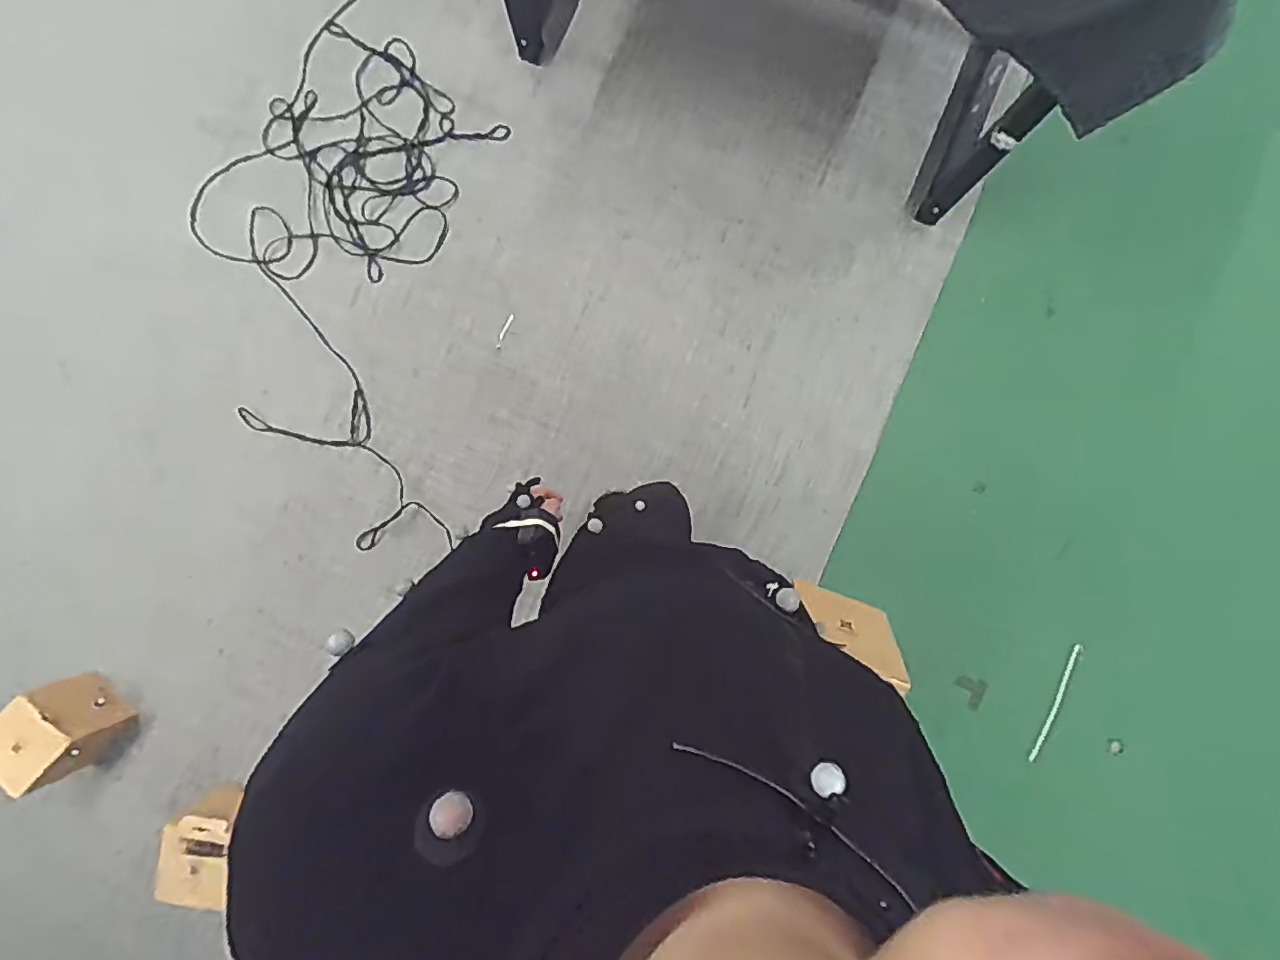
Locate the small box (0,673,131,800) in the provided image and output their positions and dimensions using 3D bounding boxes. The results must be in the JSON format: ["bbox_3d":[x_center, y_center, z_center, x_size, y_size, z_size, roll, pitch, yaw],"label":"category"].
[{"bbox_3d":[-1.381,0.594,1.275,0.168,0.176,0.179,42,88,2],"label":"small box"}]

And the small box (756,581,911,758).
[{"bbox_3d":[0.293,0.297,0.858,0.168,0.179,0.176,22,112,4],"label":"small box"}]
